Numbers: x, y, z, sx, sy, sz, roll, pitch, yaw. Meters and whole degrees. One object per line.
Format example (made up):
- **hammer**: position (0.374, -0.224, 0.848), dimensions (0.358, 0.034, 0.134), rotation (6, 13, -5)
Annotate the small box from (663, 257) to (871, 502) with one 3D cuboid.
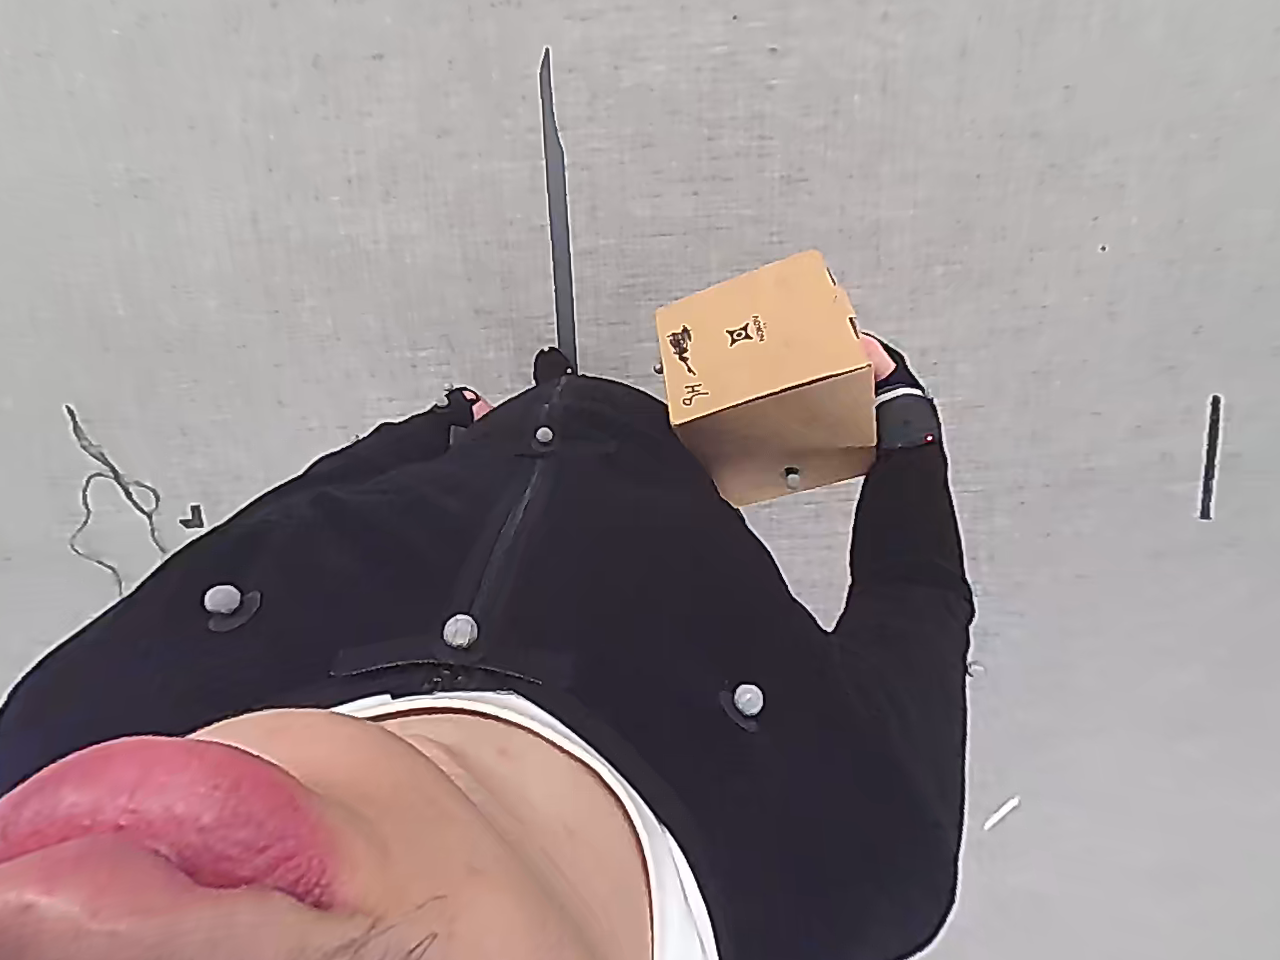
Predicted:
- **small box**: position (0.138, -0.098, 0.588), dimensions (0.179, 0.168, 0.176), rotation (-16, 143, 15)
